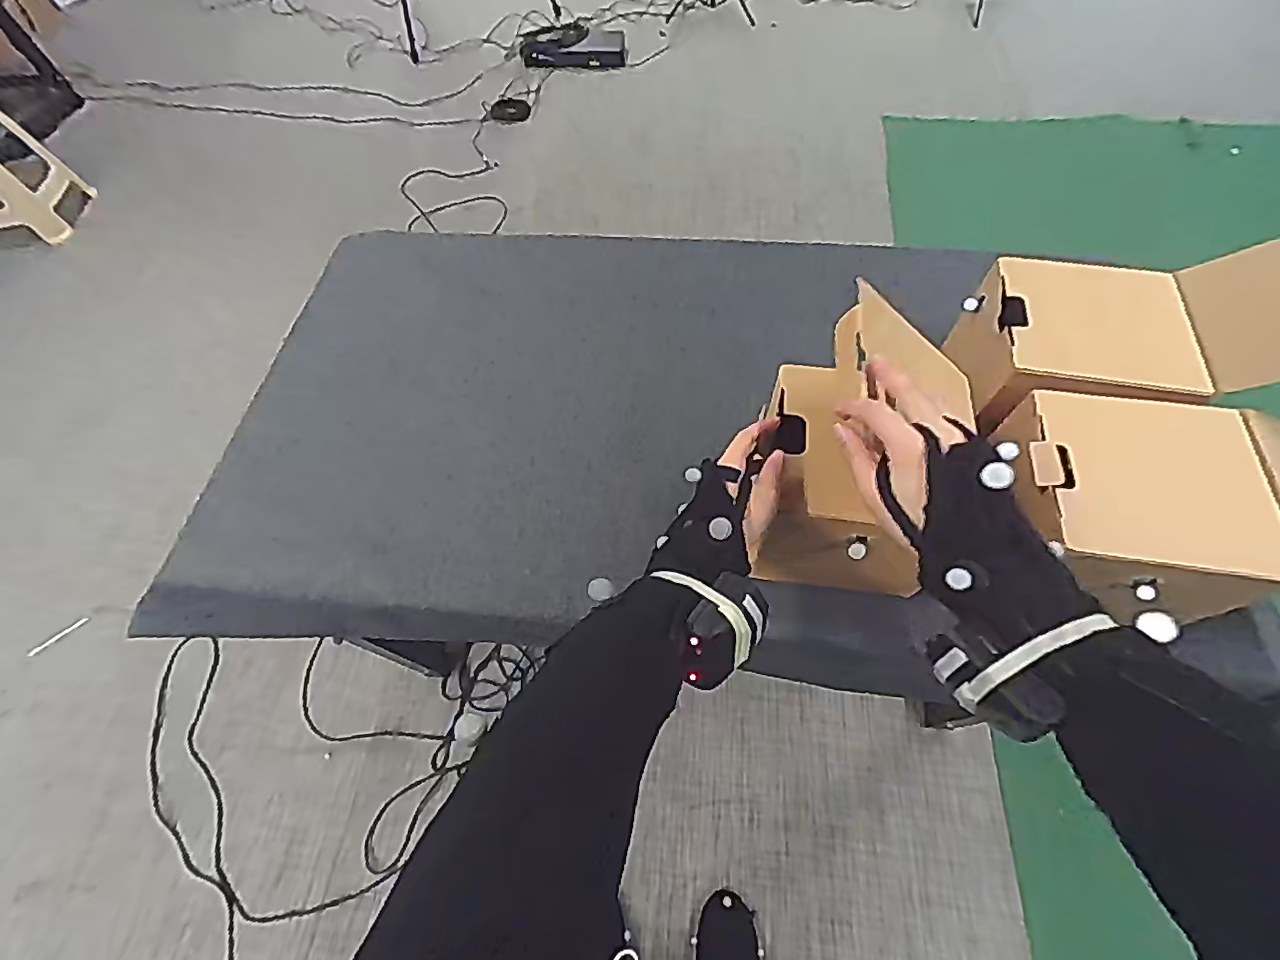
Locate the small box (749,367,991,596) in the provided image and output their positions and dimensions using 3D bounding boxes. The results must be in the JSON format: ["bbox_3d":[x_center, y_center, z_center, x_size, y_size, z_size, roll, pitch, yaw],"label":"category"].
[{"bbox_3d":[0.213,0.010,0.549,0.179,0.176,0.168,6,61,8],"label":"small box"}]
